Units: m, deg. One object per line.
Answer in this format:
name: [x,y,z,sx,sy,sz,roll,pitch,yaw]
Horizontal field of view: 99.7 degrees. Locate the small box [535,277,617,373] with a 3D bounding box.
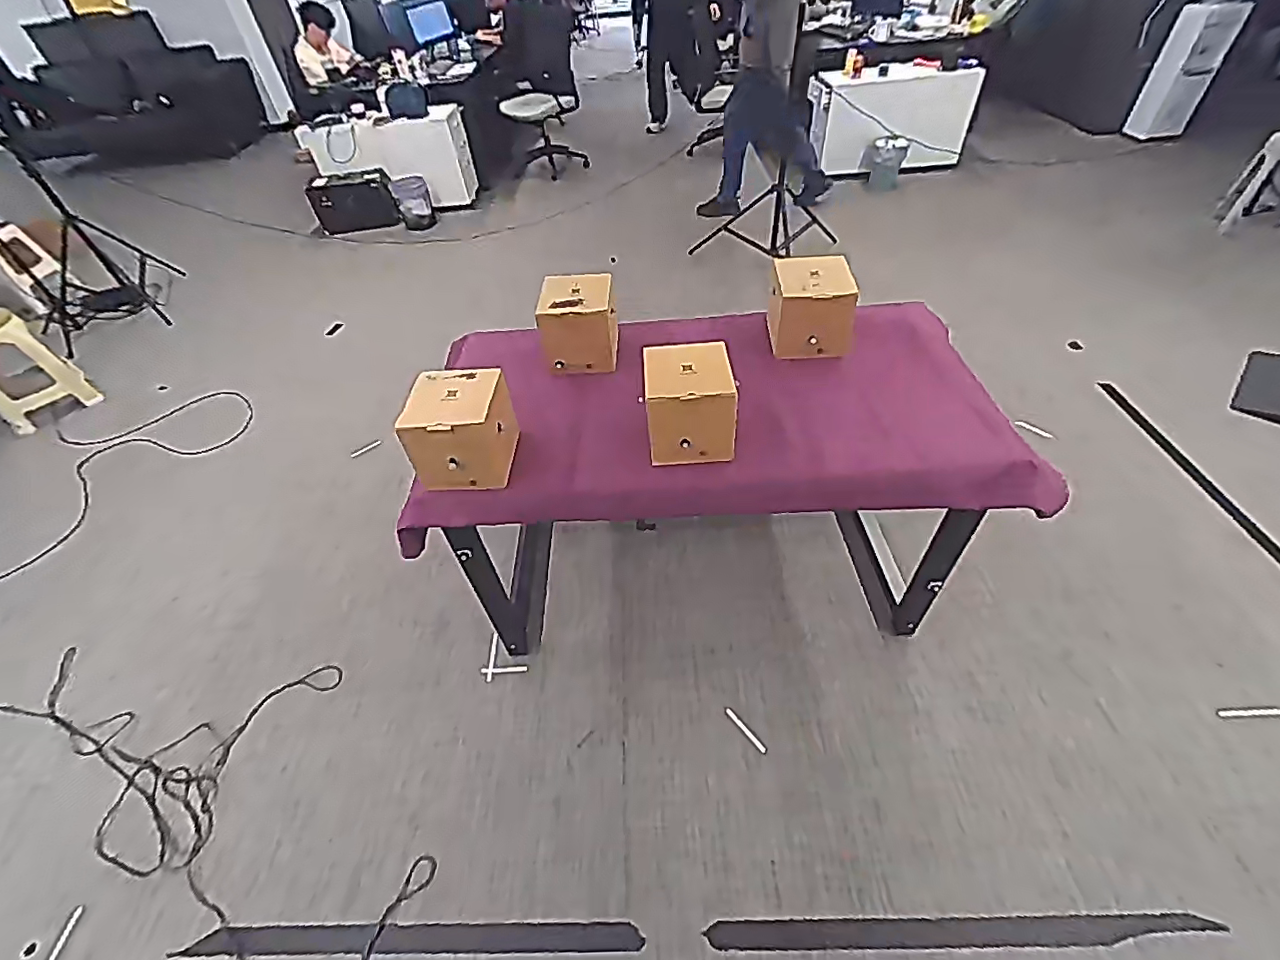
small box: [-0.148,-0.374,1.322,0.168,0.176,0.179,-2,47,4]

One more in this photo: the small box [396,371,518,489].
small box: [-0.351,-0.094,1.076,0.168,0.176,0.179,-2,47,3]

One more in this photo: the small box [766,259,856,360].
small box: [0.401,-0.409,1.300,0.168,0.176,0.179,-2,49,5]

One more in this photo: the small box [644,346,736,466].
small box: [0.094,-0.149,1.091,0.168,0.176,0.179,-4,46,1]
